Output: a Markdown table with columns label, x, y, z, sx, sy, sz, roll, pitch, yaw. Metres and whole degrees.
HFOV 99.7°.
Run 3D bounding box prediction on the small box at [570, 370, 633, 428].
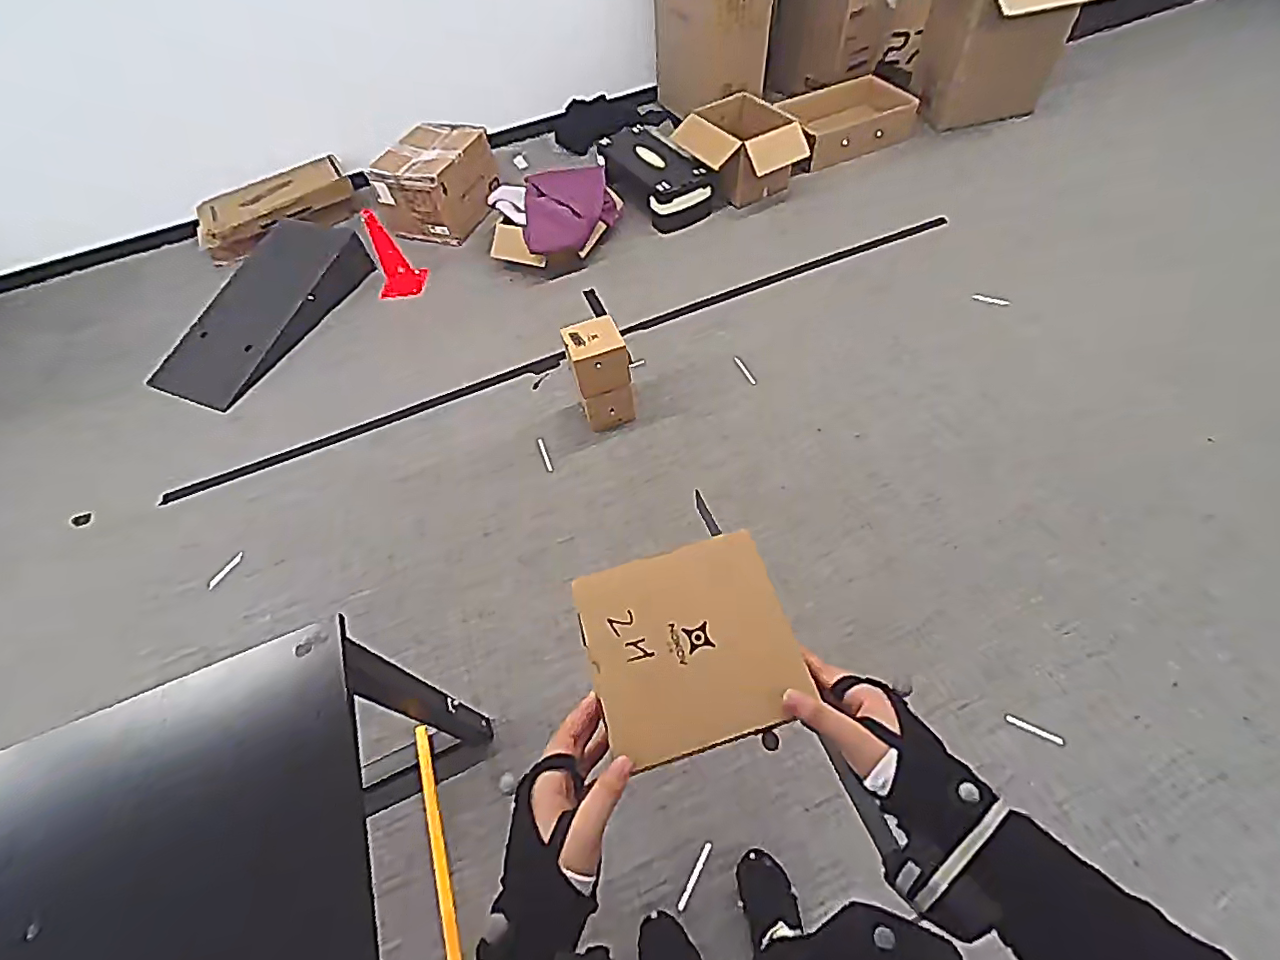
| label | x | y | z | sx | sy | sz | roll | pitch | yaw |
| --- | --- | --- | --- | --- | --- | --- | --- | --- | --- |
| small box | -0.130 | -0.302 | 1.901 | 0.168 | 0.176 | 0.179 | -20 | 57 | -6 |

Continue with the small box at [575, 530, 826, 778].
| label | x | y | z | sx | sy | sz | roll | pitch | yaw |
| --- | --- | --- | --- | --- | --- | --- | --- | --- | --- |
| small box | 0.049 | 0.172 | 0.526 | 0.179 | 0.176 | 0.168 | -16 | 62 | -4 |

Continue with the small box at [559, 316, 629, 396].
| label | x | y | z | sx | sy | sz | roll | pitch | yaw |
| --- | --- | --- | --- | --- | --- | --- | --- | --- | --- |
| small box | -0.147 | -0.401 | 1.768 | 0.179 | 0.176 | 0.168 | -20 | 56 | -7 |
